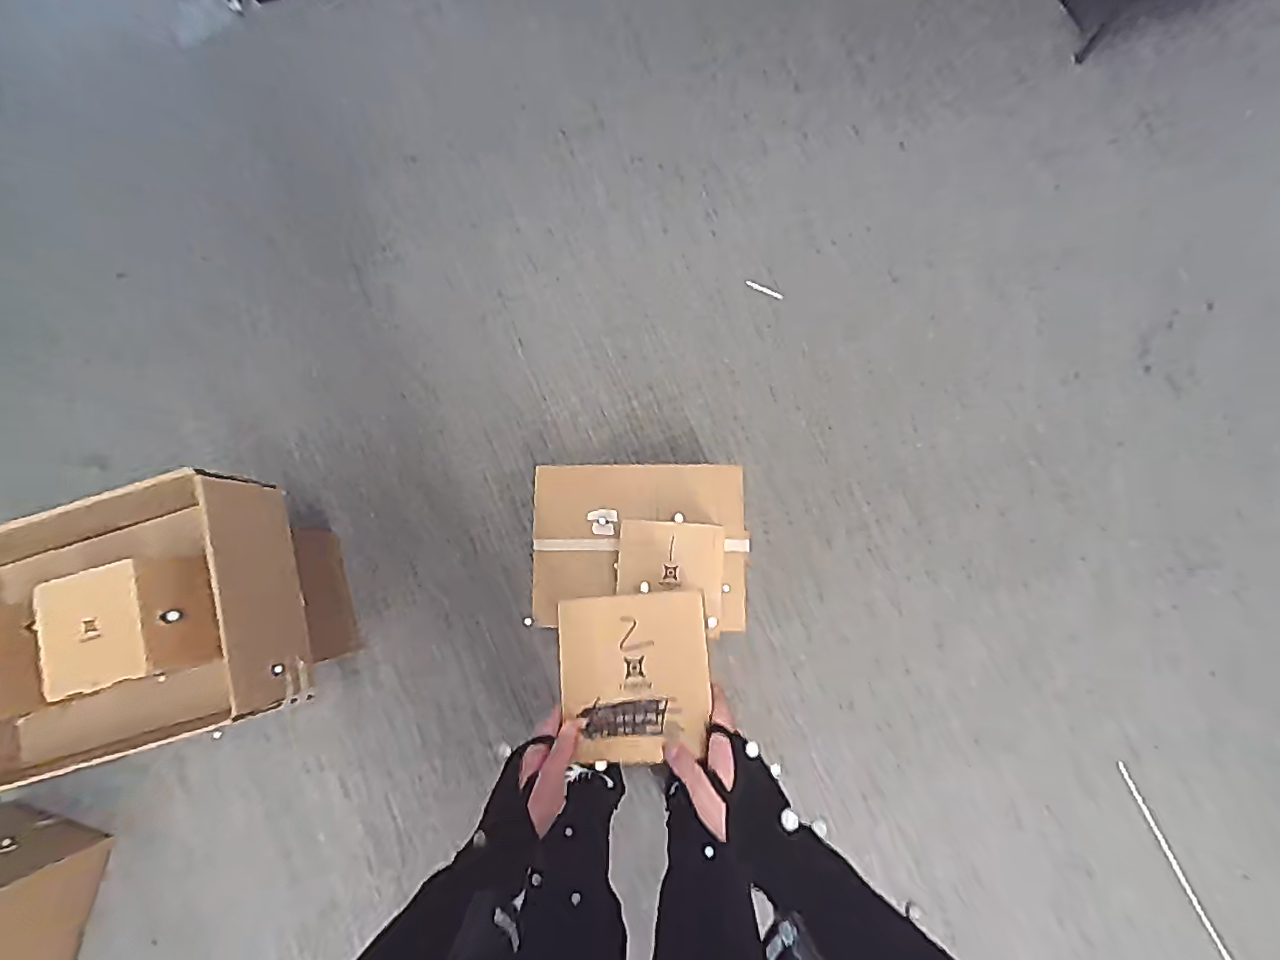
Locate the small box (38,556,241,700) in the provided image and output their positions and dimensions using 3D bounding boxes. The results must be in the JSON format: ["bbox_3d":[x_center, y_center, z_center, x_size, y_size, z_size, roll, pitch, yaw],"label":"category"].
[{"bbox_3d":[-0.790,0.227,0.869,0.168,0.176,0.179,-16,83,3],"label":"small box"}]

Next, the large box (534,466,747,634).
[{"bbox_3d":[0.013,0.148,1.168,0.408,0.320,0.320,0,82,6],"label":"large box"}]

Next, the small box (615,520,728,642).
[{"bbox_3d":[0.056,0.162,0.913,0.168,0.176,0.179,4,84,5],"label":"small box"}]
